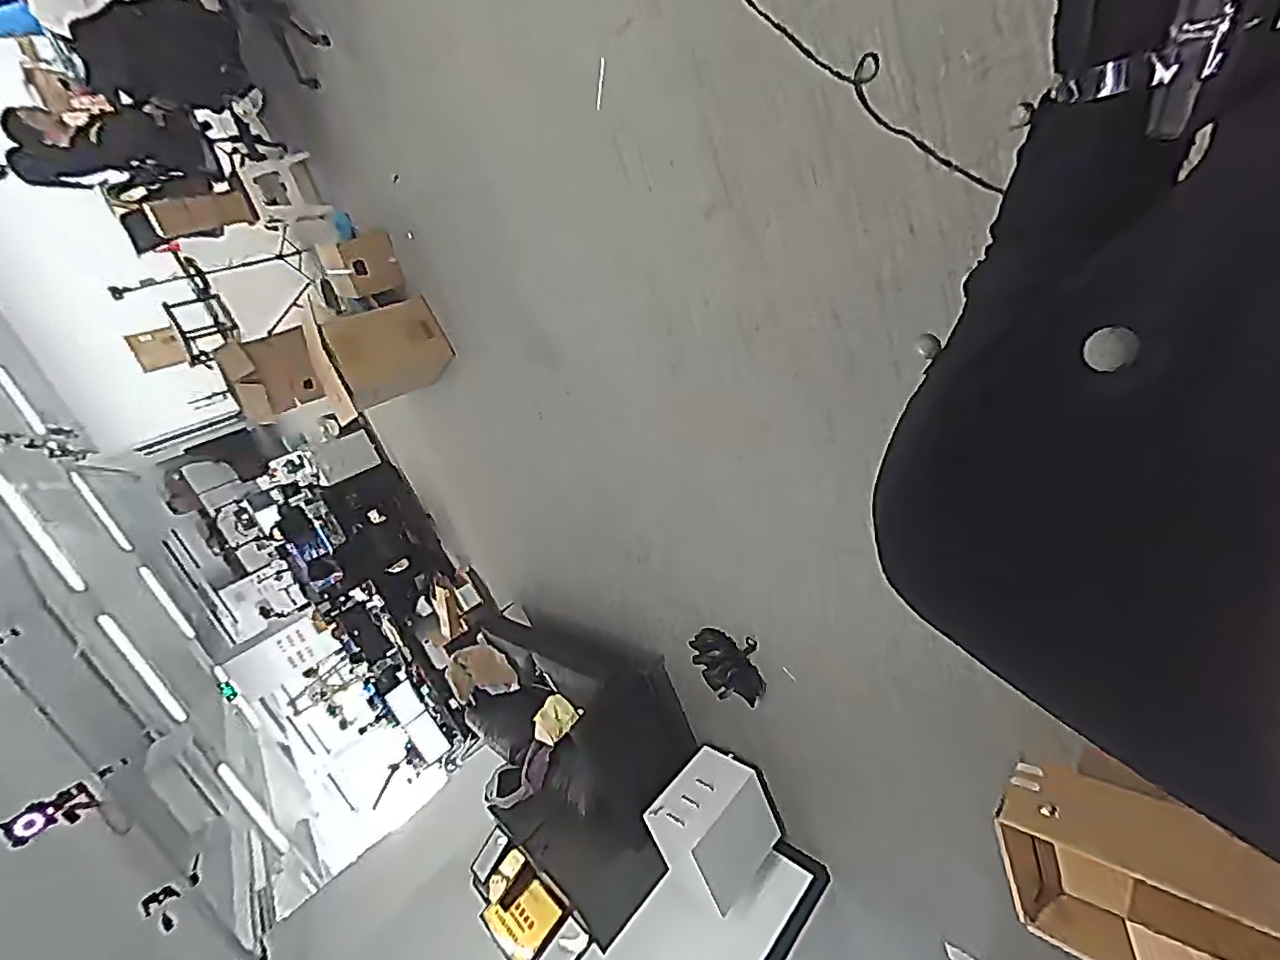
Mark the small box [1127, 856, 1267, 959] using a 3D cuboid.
[{"bbox_3d":[1.092,0.899,1.059,0.168,0.176,0.179,-8,111,53],"label":"small box"}]
